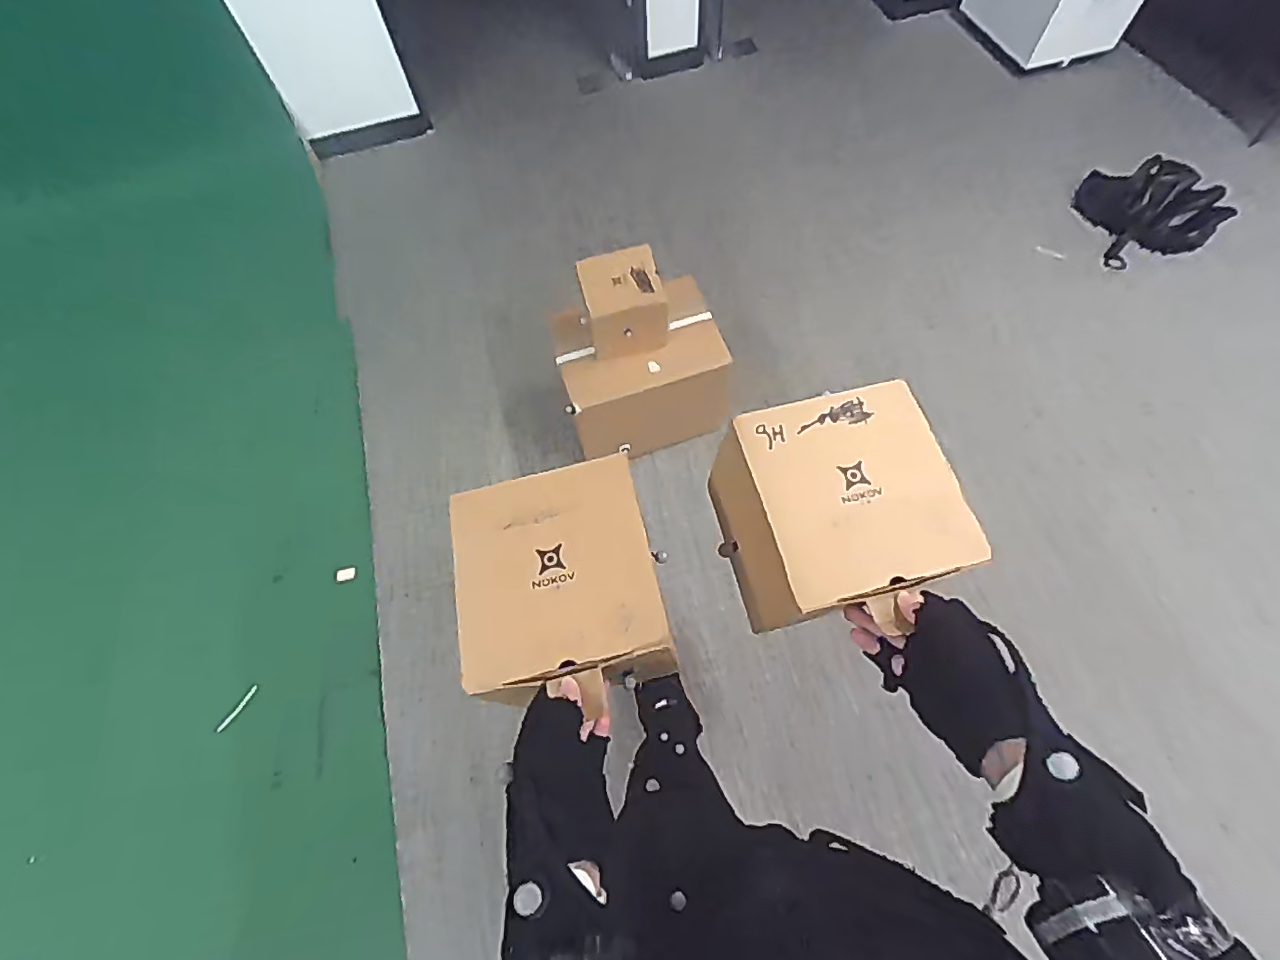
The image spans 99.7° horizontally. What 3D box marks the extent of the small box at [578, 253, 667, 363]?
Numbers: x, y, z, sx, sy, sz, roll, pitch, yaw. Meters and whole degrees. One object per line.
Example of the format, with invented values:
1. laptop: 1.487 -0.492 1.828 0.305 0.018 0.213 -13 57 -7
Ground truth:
1. small box: -0.041 -0.398 1.272 0.179 0.176 0.168 -11 68 -3
